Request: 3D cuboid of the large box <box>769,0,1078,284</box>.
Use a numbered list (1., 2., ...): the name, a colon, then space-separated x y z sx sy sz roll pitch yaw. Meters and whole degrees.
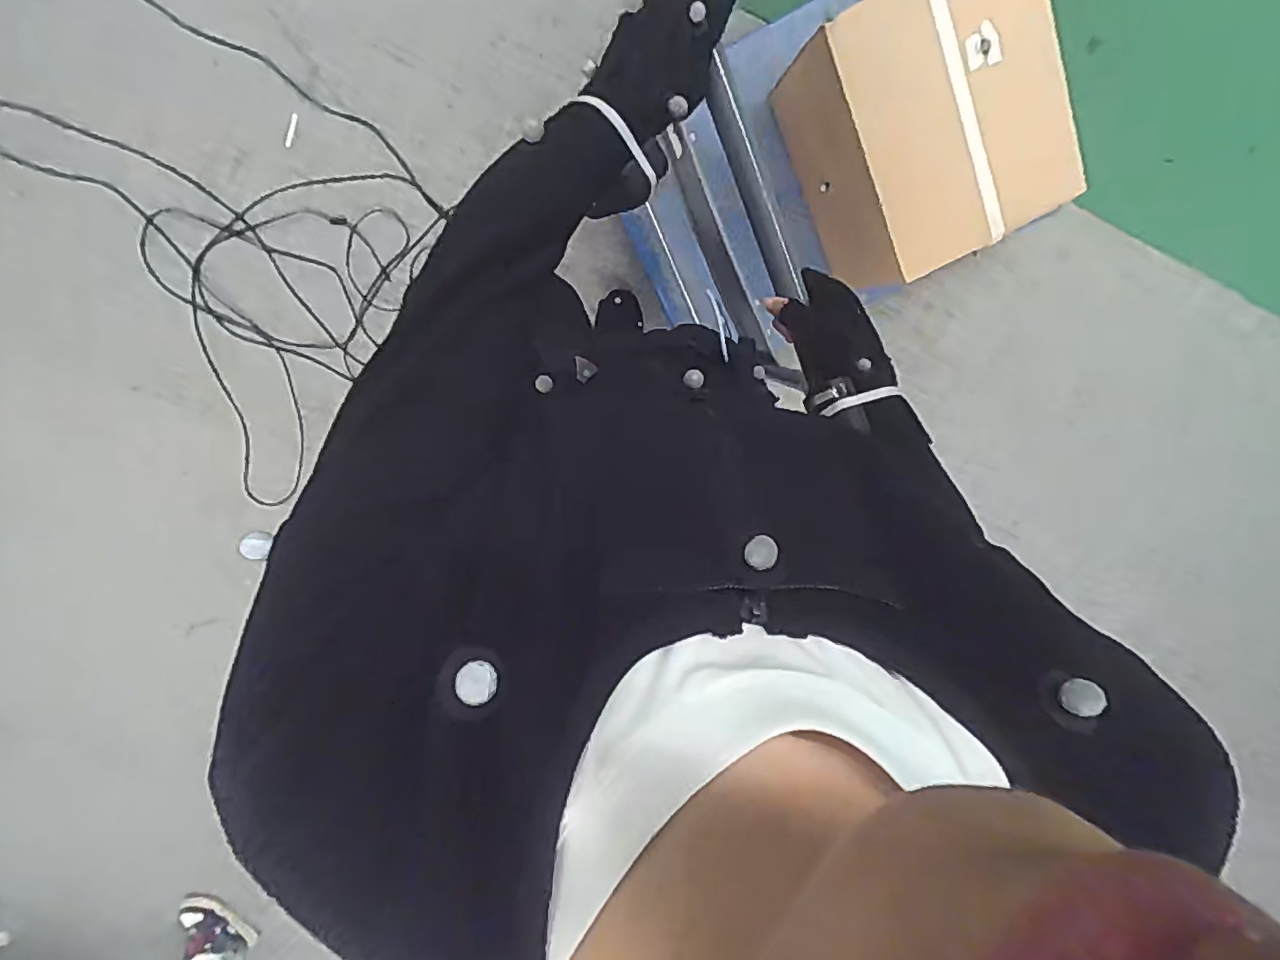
1. large box: 0.483 -0.619 0.982 0.320 0.320 0.408 -27 107 6
